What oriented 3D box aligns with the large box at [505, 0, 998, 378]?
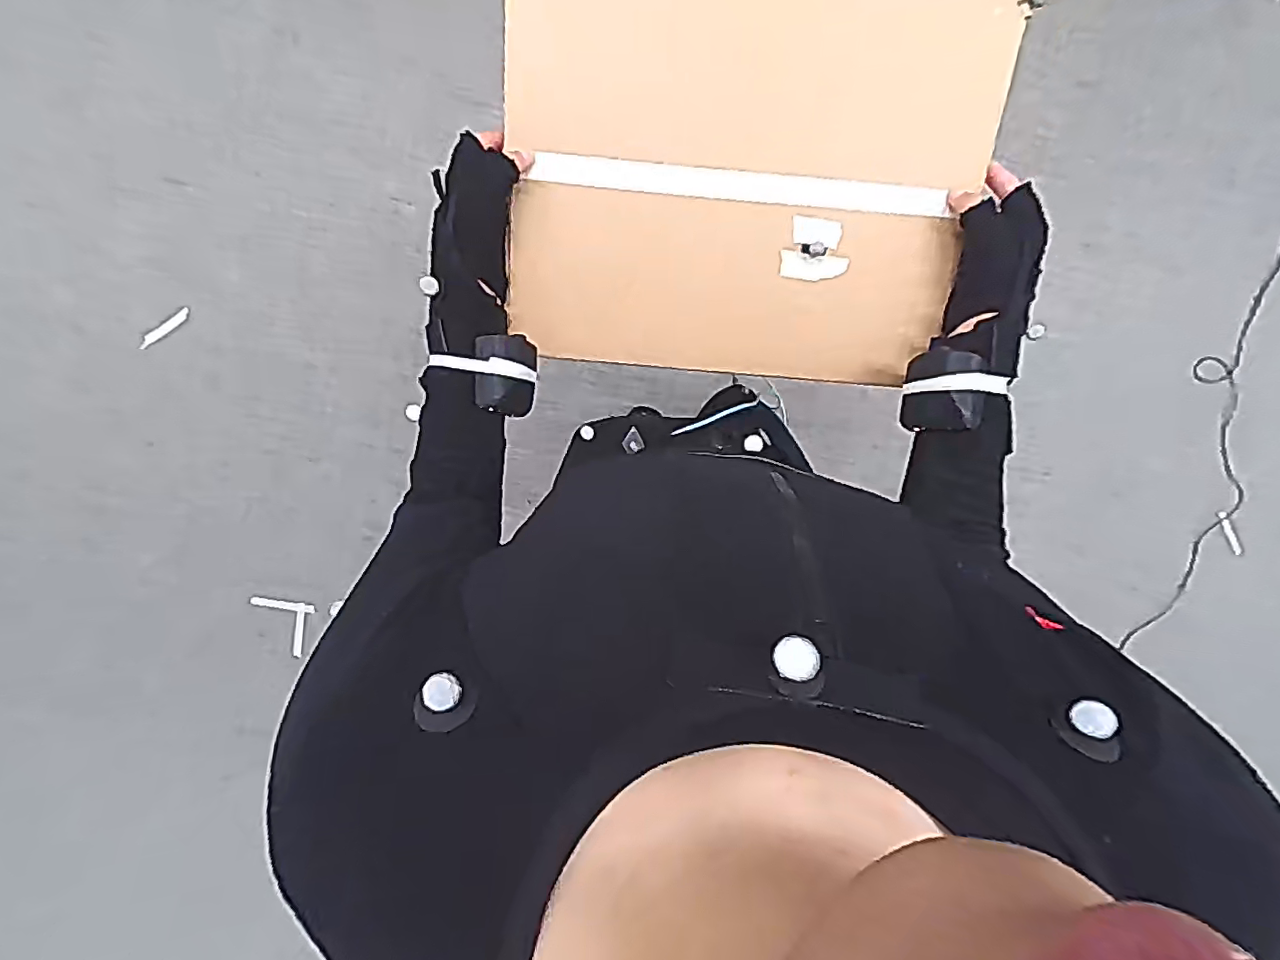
[{"bbox_3d":[0.078,-0.300,0.613,0.408,0.320,0.320,3,110,-3],"label":"large box"}]
